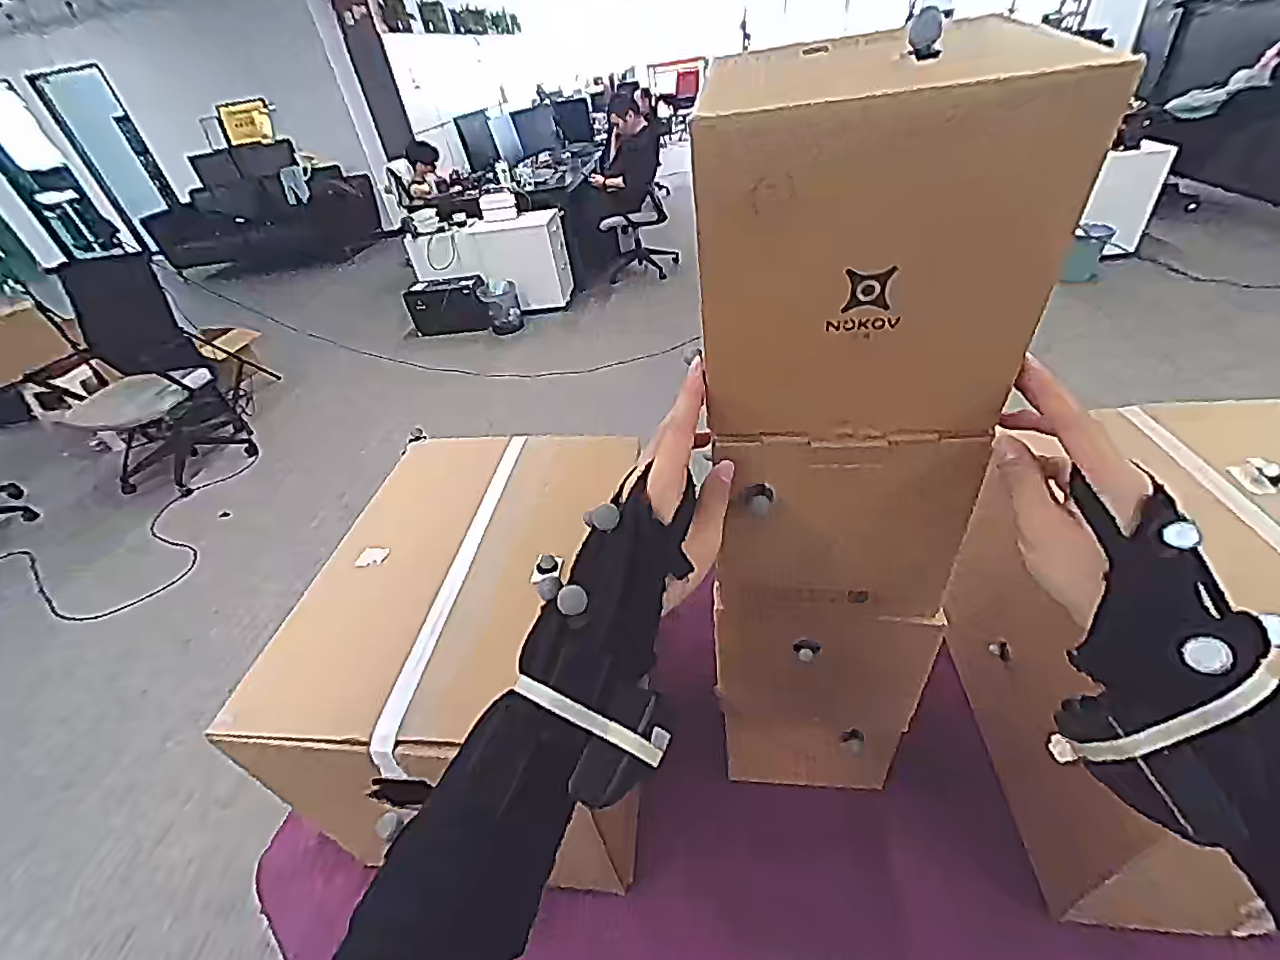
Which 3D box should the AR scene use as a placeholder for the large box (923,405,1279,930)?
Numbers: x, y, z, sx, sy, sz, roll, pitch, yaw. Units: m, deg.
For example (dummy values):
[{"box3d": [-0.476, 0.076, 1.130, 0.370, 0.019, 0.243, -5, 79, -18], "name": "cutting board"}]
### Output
[{"box3d": [0.535, 0.166, 0.547, 0.320, 0.320, 0.408, -2, 37, 8], "name": "large box"}]
